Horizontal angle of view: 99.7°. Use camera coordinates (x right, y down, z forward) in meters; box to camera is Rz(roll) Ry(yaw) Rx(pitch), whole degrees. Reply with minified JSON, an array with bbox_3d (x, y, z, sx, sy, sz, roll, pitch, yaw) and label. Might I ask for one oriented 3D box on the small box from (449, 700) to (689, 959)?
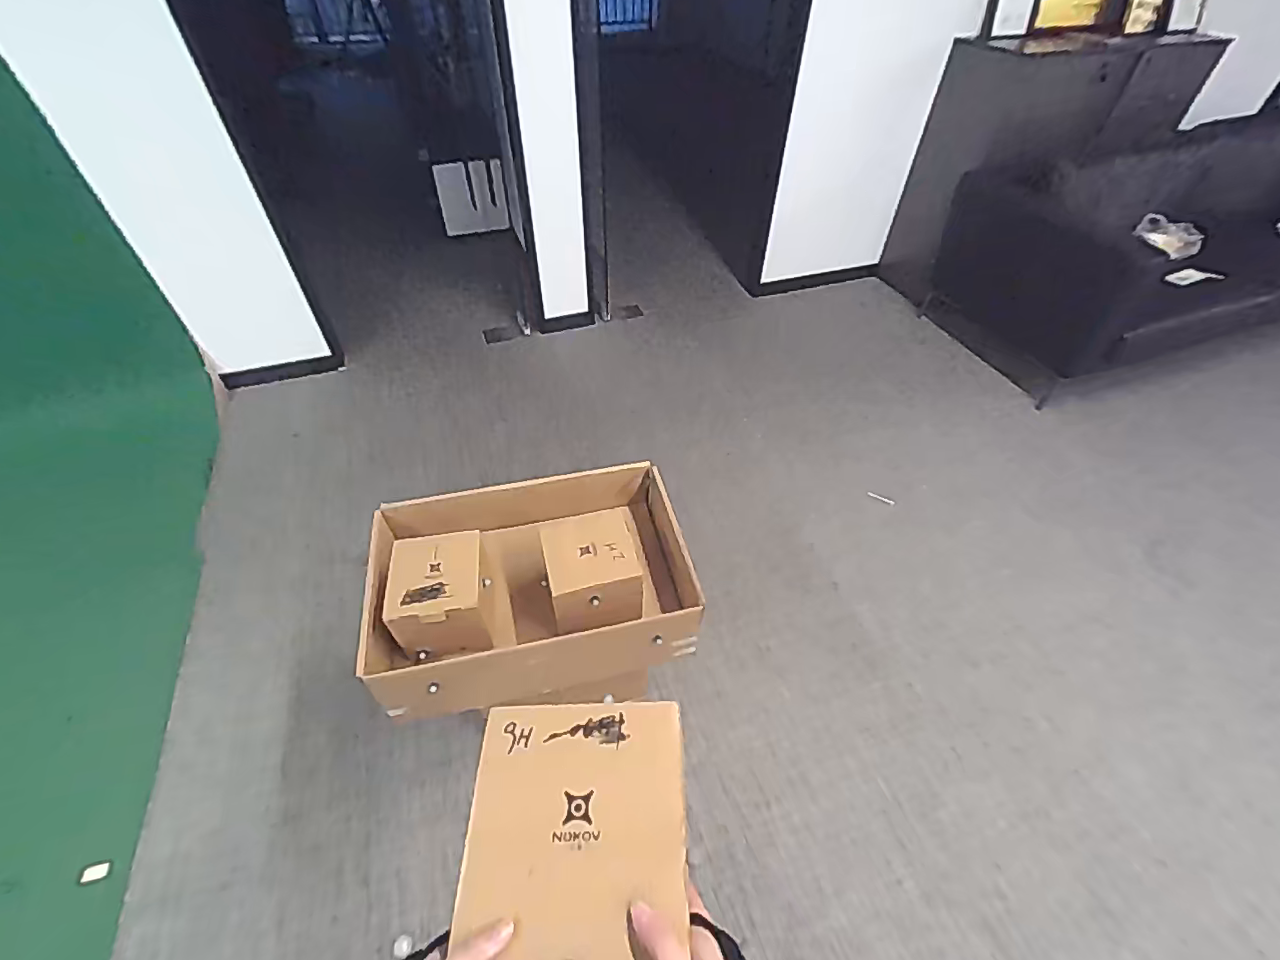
[{"bbox_3d":[-0.043,0.309,0.473,0.168,0.176,0.179,-2,49,3],"label":"small box"}]
